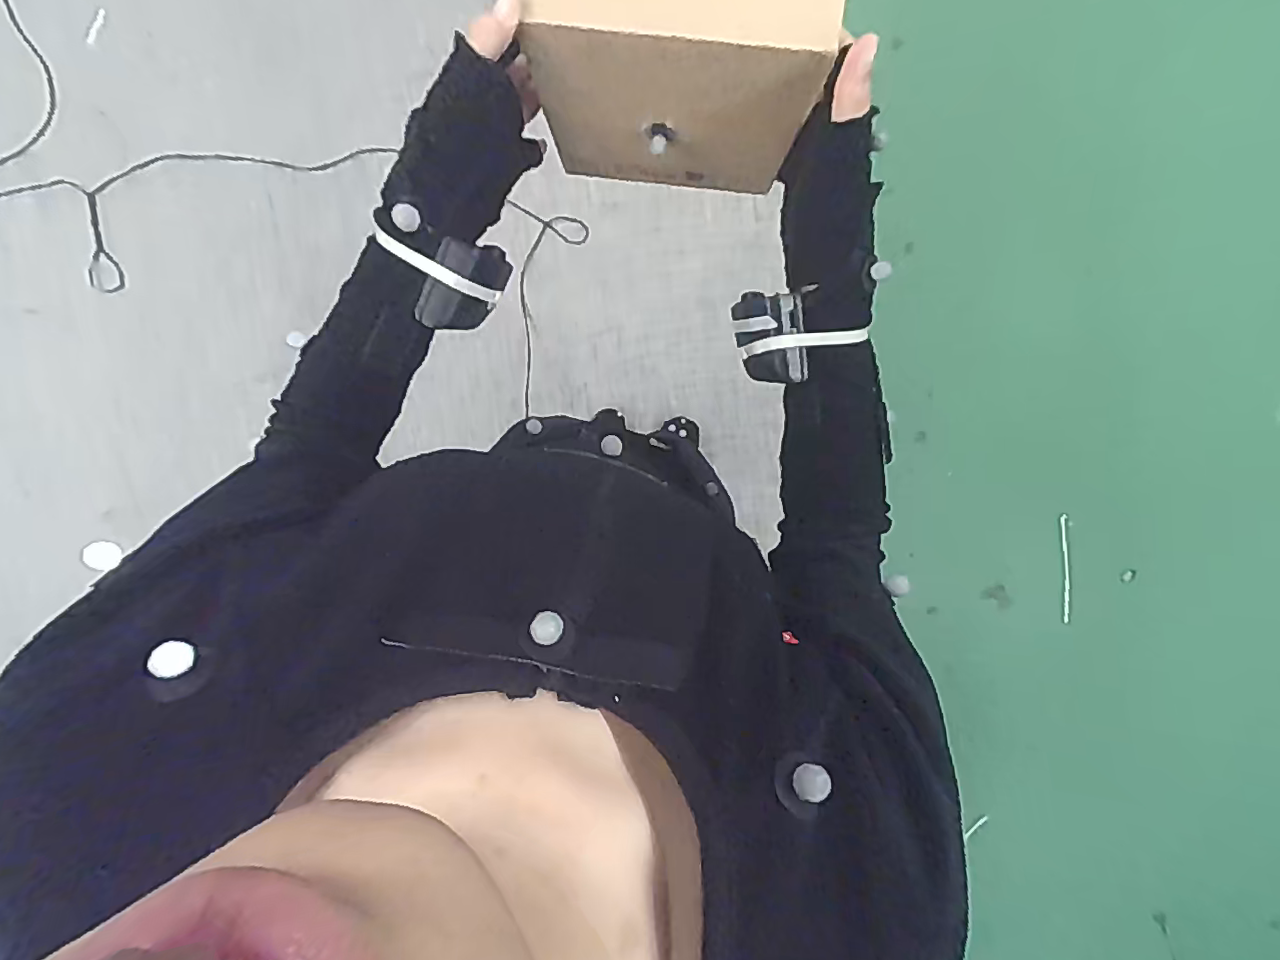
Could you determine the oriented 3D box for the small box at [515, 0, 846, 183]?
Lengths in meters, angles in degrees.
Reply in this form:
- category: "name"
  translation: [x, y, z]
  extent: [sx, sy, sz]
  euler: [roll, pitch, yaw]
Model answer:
- category: "small box"
  translation: [0.030, -0.313, 0.337]
  extent: [0.168, 0.176, 0.179]
  euler: [6, 95, 0]
